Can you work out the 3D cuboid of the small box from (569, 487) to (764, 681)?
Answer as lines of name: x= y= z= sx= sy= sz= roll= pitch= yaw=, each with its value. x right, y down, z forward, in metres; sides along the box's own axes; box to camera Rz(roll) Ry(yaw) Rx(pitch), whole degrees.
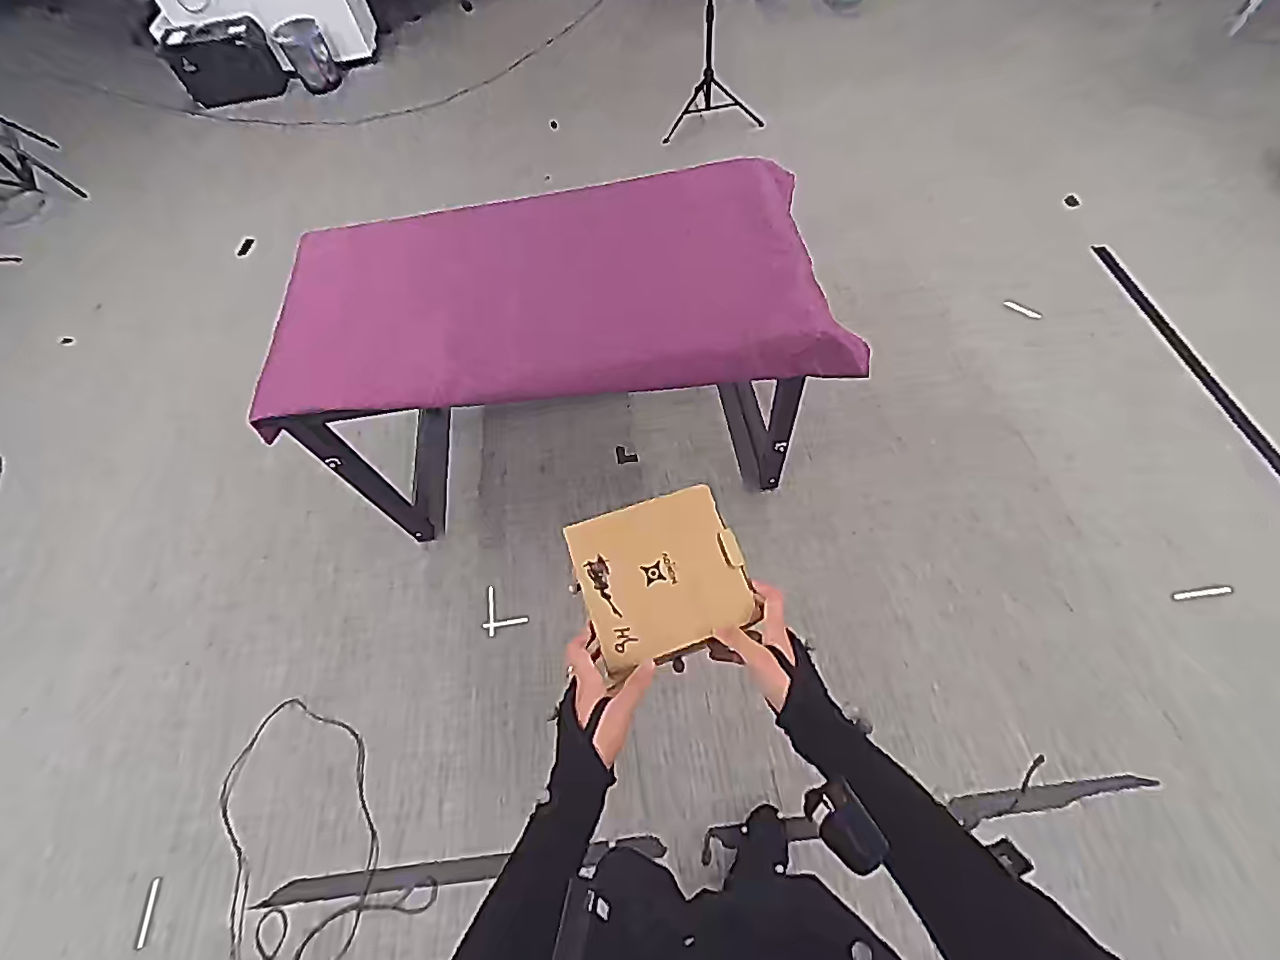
small box: x=0.021 y=0.132 z=0.655 sx=0.179 sy=0.176 sz=0.168 roll=-16 pitch=68 yaw=-10
